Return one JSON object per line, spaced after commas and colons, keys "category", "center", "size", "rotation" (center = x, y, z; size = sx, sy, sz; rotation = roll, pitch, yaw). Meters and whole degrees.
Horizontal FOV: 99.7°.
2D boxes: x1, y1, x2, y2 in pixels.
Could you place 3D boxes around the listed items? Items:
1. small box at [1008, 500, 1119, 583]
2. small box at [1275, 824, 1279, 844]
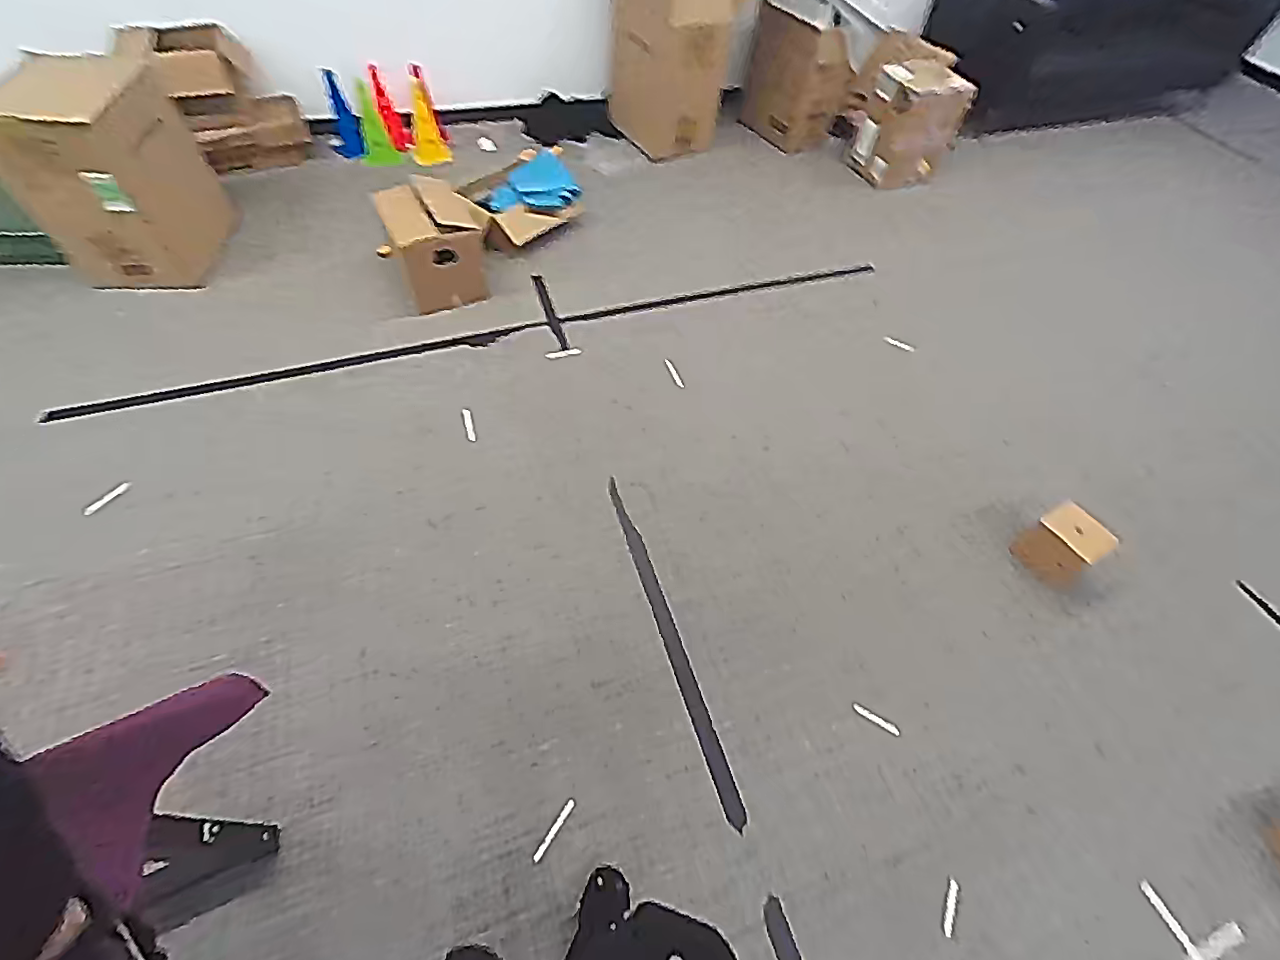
{"category": "small box", "center": [1.314, 0.199, 1.690], "size": [0.168, 0.176, 0.179], "rotation": [-24, 58, -22]}
{"category": "small box", "center": [1.636, 0.870, 1.229], "size": [0.179, 0.176, 0.168], "rotation": [-3, 55, -5]}
